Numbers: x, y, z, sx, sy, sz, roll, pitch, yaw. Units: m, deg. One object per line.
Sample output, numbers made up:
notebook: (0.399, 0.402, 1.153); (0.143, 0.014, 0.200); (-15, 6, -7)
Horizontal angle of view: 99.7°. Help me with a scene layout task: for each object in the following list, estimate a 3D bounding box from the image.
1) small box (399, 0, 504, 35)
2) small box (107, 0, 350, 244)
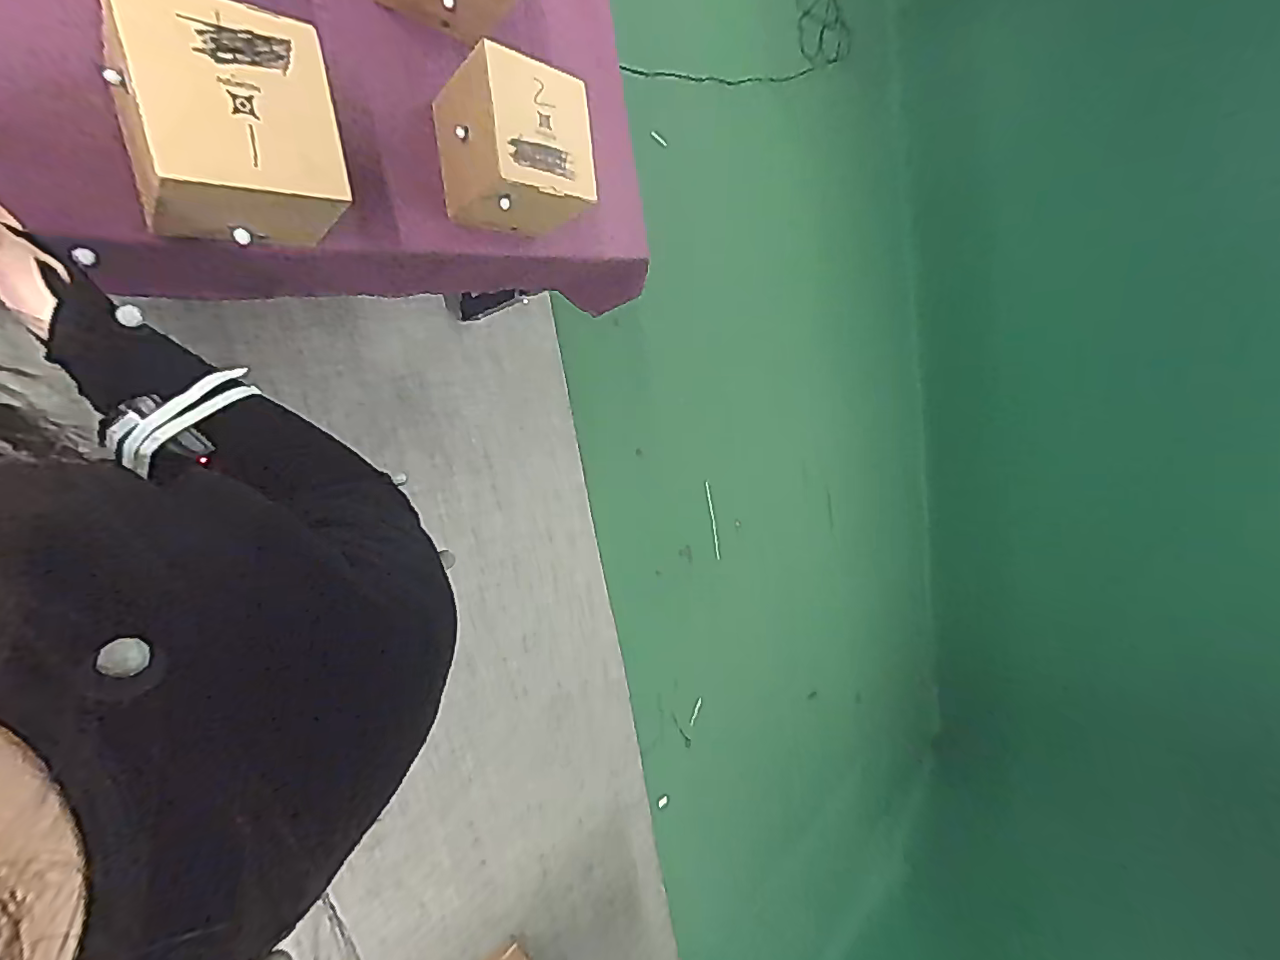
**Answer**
small box: (-0.266, -0.759, 0.727); (0.168, 0.176, 0.179); (-10, 99, -43)
small box: (-0.439, -0.374, 0.578); (0.168, 0.176, 0.179); (-16, 103, -41)
